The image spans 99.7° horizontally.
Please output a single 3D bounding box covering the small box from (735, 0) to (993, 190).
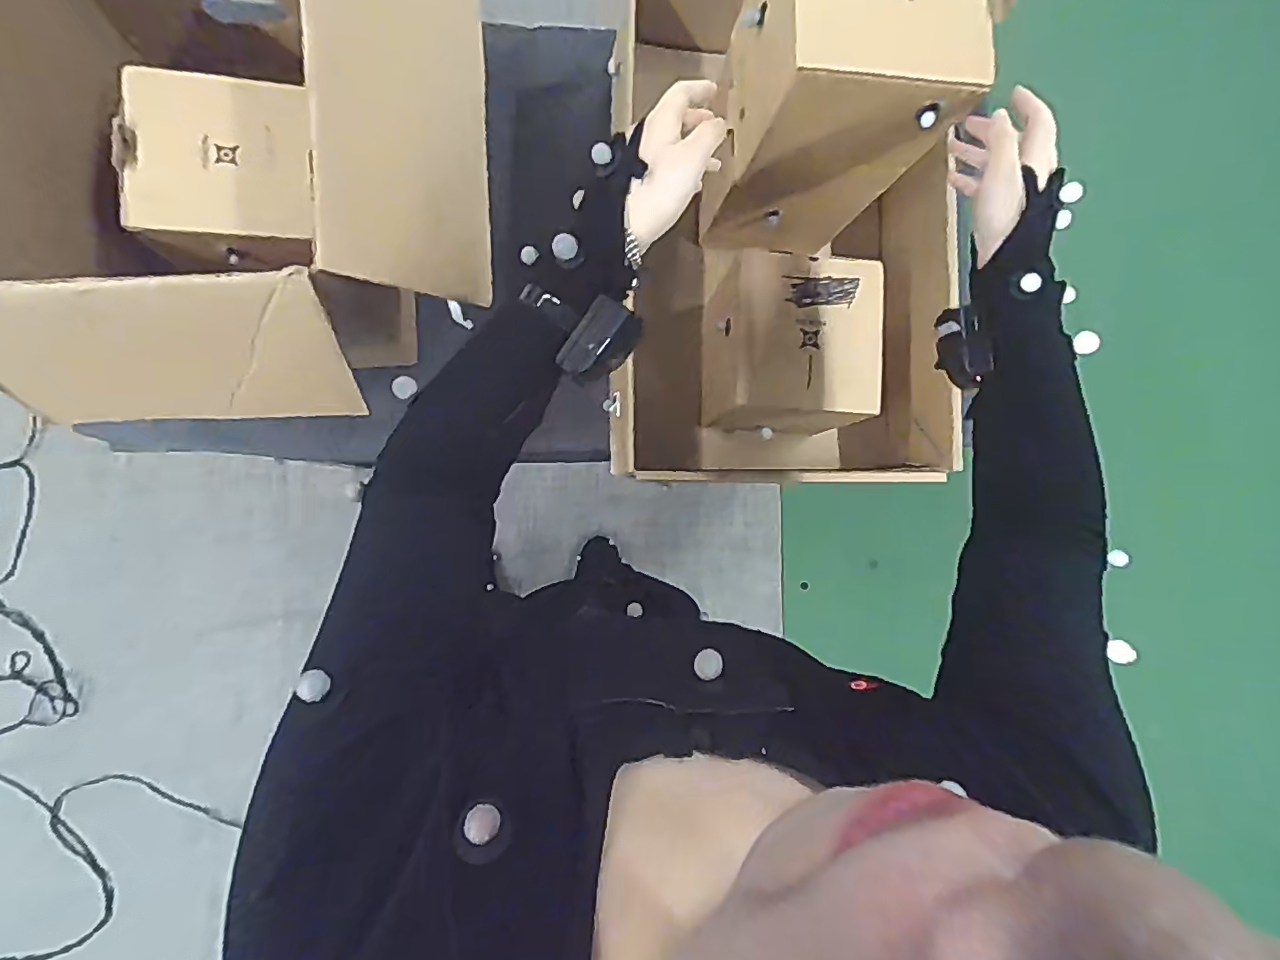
[{"bbox_3d":[0.195,-0.403,0.518,0.179,0.176,0.168,-1,90,-8],"label":"small box"}]
